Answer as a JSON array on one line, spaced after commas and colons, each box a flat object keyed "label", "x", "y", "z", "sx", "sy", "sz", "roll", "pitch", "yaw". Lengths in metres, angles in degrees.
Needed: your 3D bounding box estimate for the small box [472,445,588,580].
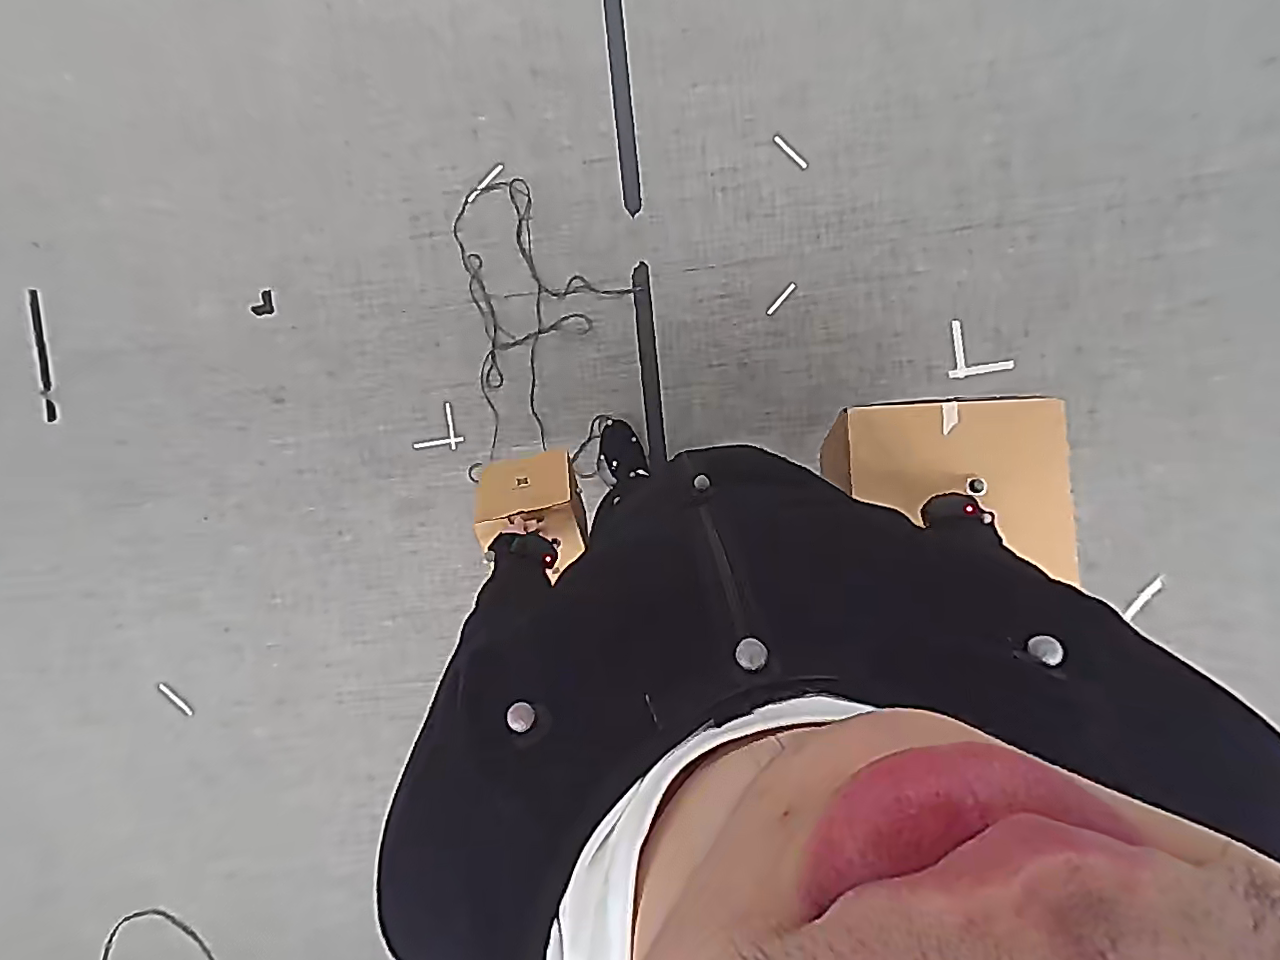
[{"label": "small box", "x": -0.196, "y": 0.065, "z": 0.997, "sx": 0.168, "sy": 0.179, "sz": 0.176, "roll": -12, "pitch": 127, "yaw": -3}]
